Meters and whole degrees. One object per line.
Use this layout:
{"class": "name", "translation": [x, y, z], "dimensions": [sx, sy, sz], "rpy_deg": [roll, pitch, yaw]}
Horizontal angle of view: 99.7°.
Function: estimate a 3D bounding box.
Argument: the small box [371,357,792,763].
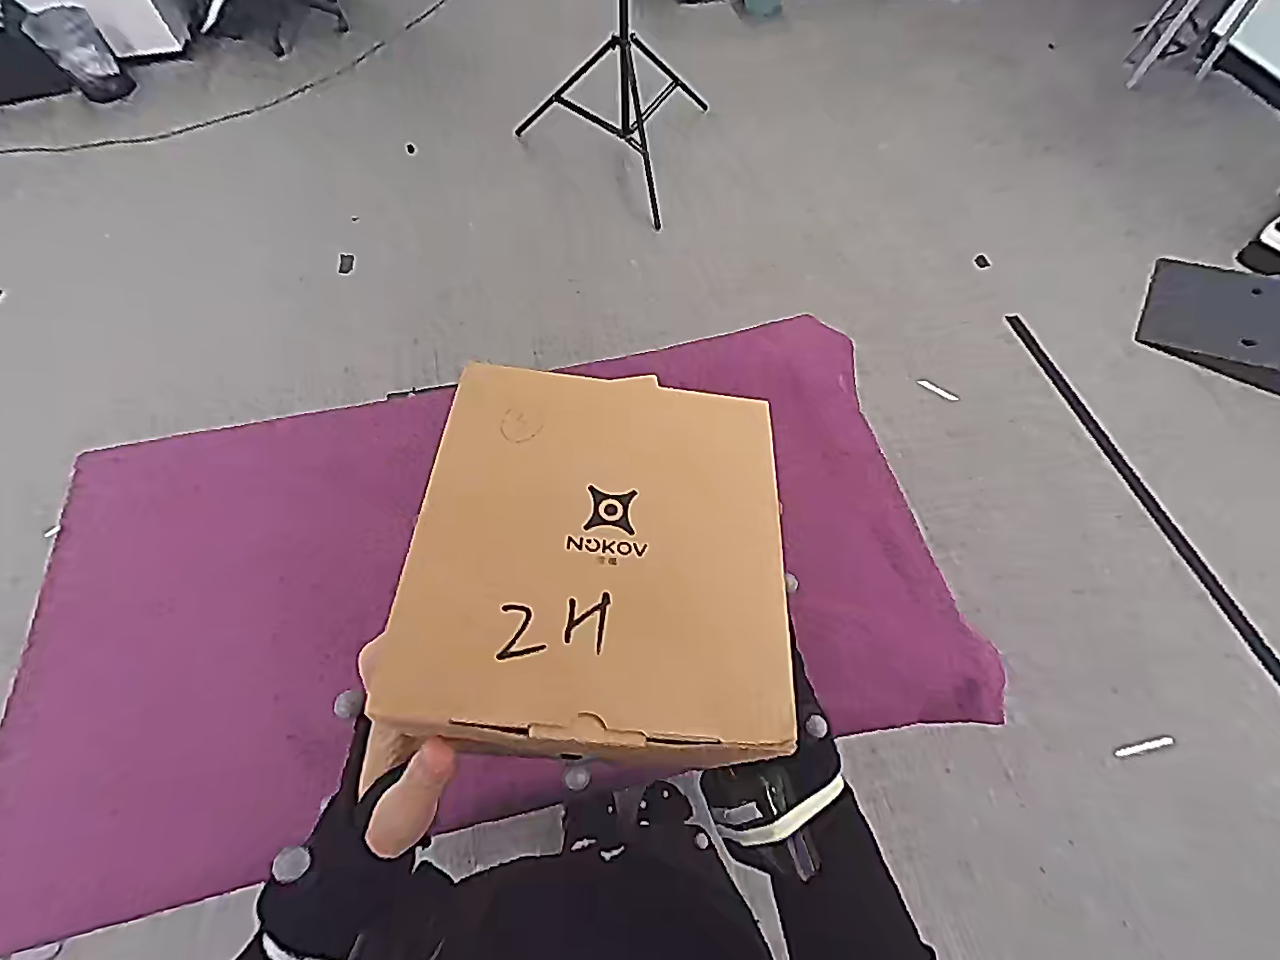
{"class": "small box", "translation": [-0.026, 0.058, 0.316], "dimensions": [0.168, 0.176, 0.179], "rpy_deg": [6, 60, -4]}
